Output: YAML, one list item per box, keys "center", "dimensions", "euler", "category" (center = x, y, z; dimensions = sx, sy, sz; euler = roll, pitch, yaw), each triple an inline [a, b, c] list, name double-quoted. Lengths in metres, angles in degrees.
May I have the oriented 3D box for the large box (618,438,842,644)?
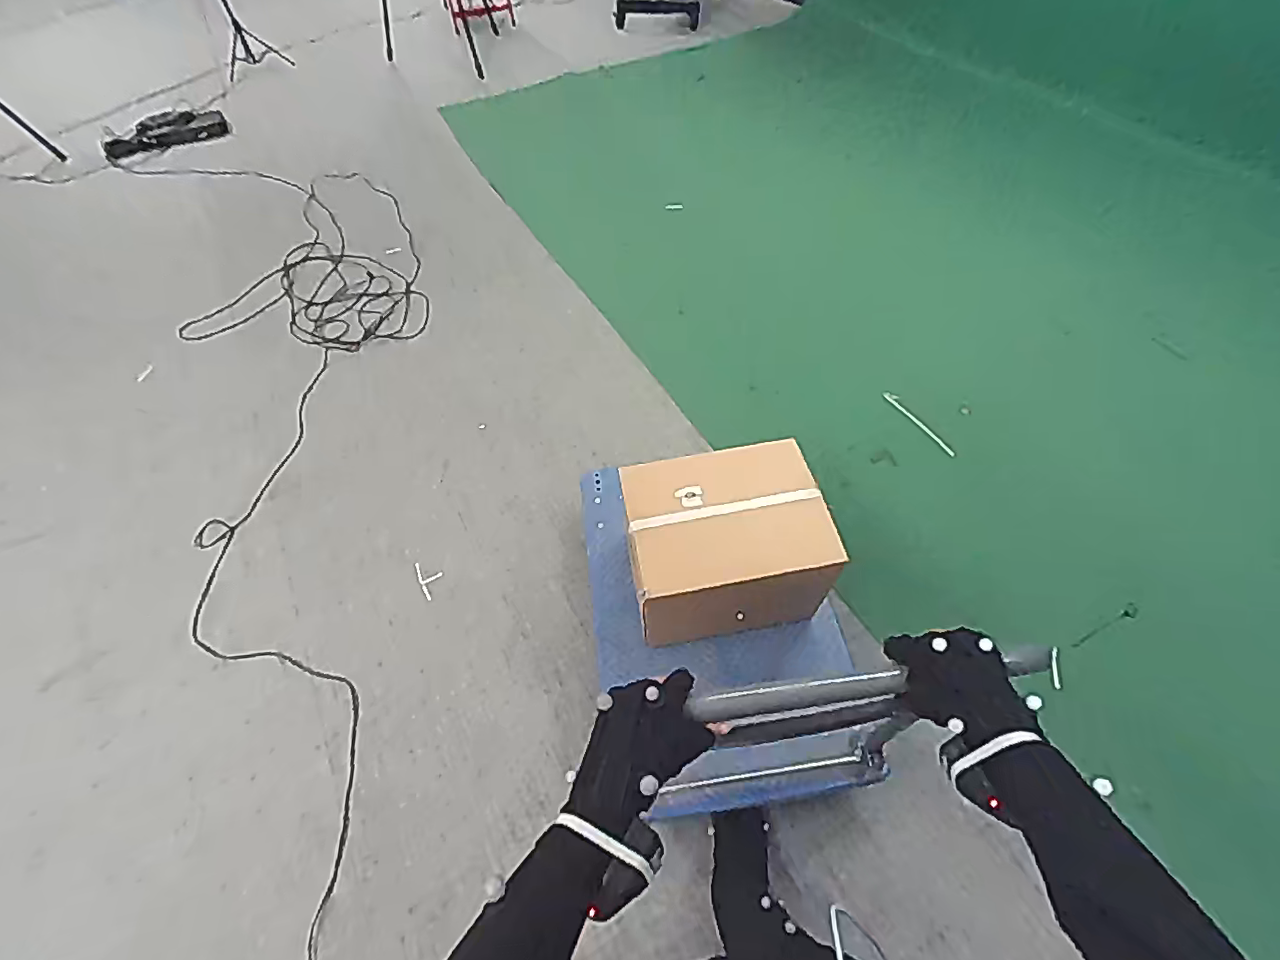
- center: [0.181, 0.148, 1.244]
  dimensions: [0.408, 0.320, 0.320]
  euler: [-11, 56, -4]
  category: "large box"
